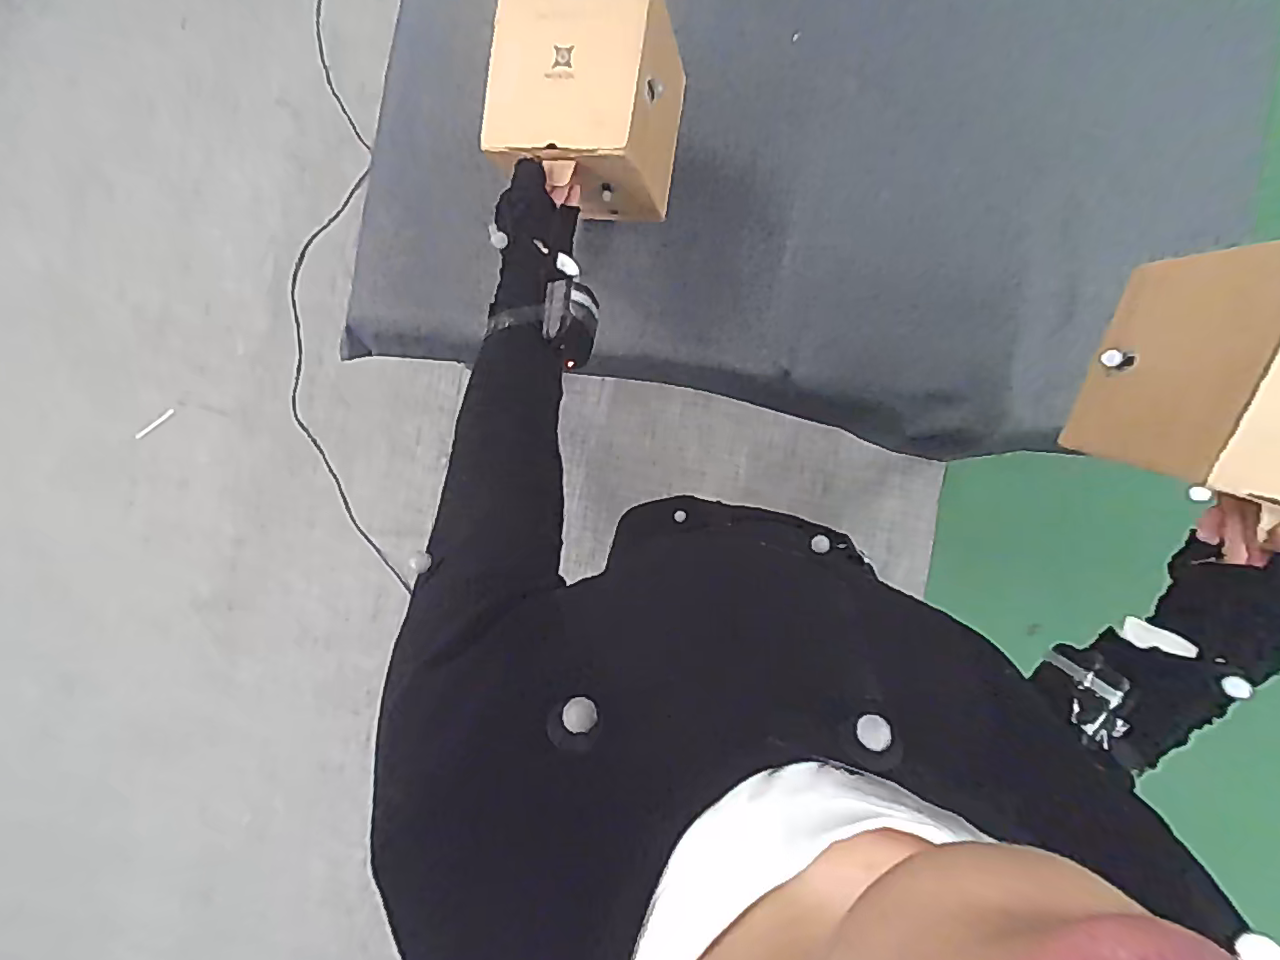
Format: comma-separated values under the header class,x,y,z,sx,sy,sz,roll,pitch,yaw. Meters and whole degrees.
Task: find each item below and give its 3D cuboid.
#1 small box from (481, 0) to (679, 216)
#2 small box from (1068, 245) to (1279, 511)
class,x,y,z,sx,sy,sz,roll,pitch,yaw
small box,-0.057,-0.424,0.617,0.168,0.176,0.179,10,94,13
small box,0.506,-0.076,0.441,0.168,0.176,0.179,14,106,2
